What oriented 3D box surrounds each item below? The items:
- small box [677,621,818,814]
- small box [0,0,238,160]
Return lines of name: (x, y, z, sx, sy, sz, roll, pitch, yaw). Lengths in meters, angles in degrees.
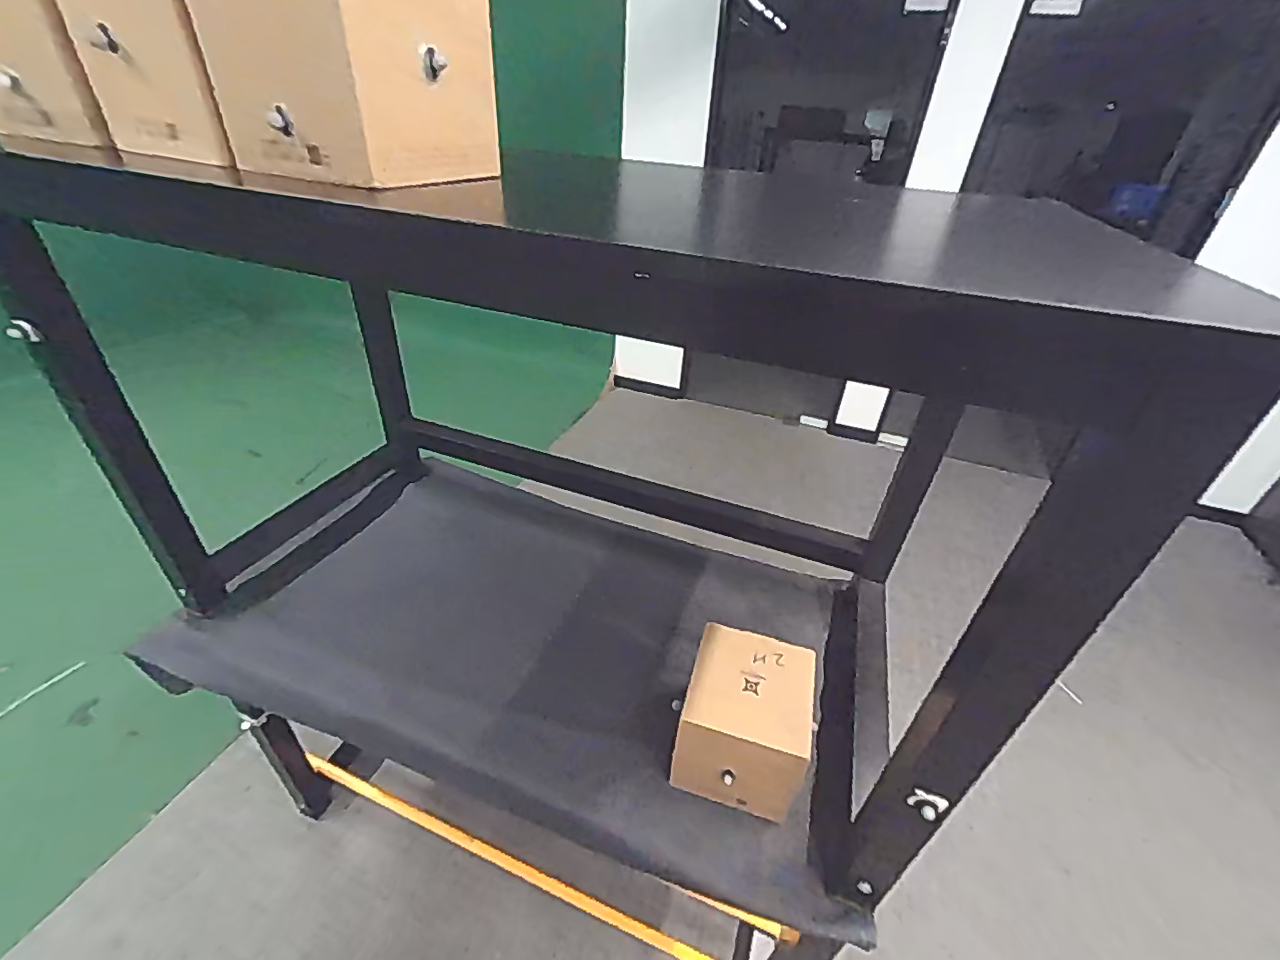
small box: (0.154, 0.345, 0.789, 0.168, 0.176, 0.179, 13, 35, 12)
small box: (-0.591, -0.464, 0.597, 0.168, 0.176, 0.179, 15, 37, 14)
